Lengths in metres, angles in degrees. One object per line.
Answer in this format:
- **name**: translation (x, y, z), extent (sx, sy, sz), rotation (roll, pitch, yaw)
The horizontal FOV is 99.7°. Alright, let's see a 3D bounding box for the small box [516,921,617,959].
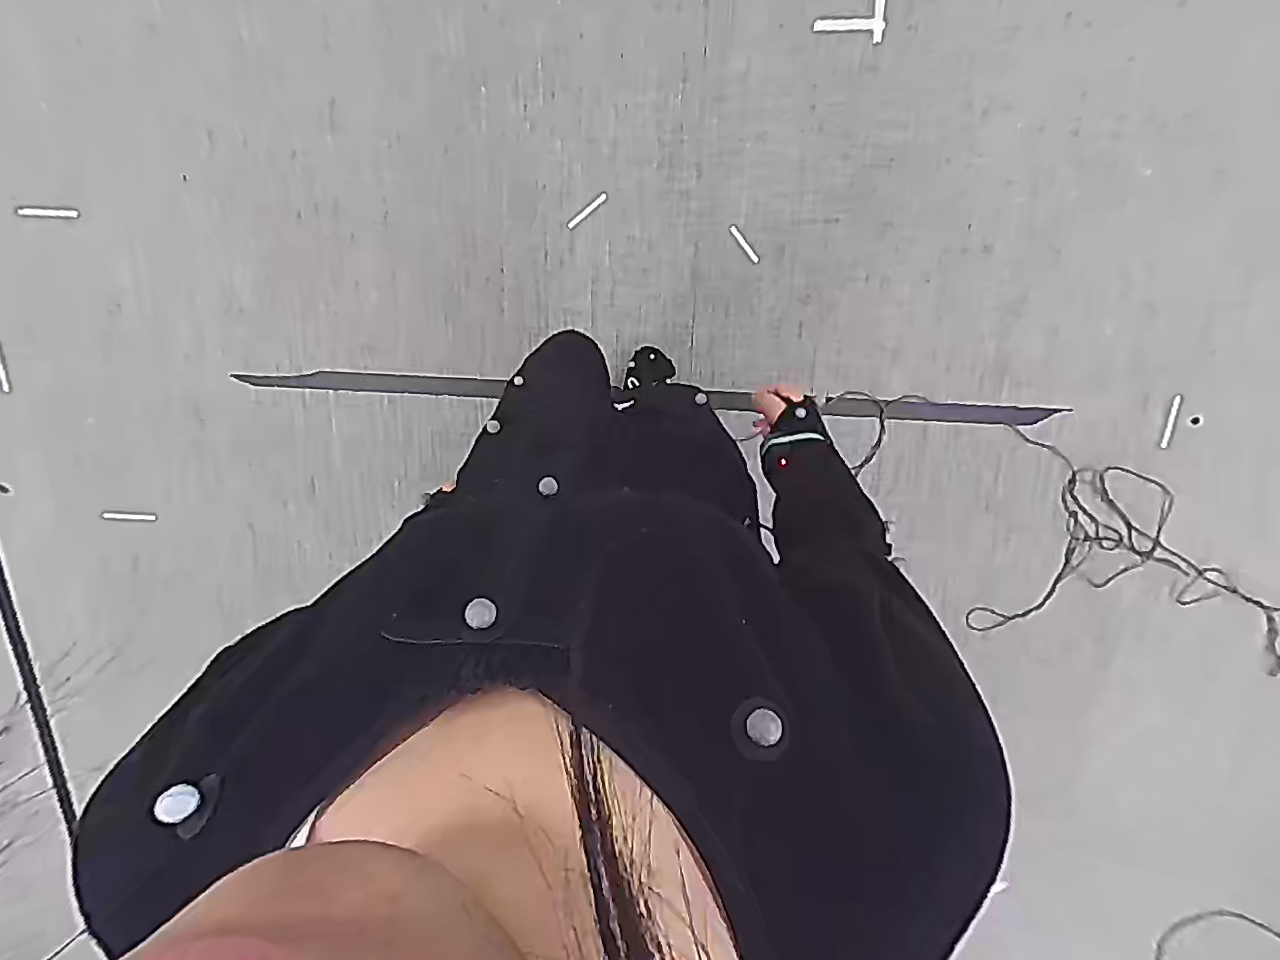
- **small box**: translation (-0.127, 0.868, 0.884), extent (0.168, 0.176, 0.179), rotation (3, 105, 1)
